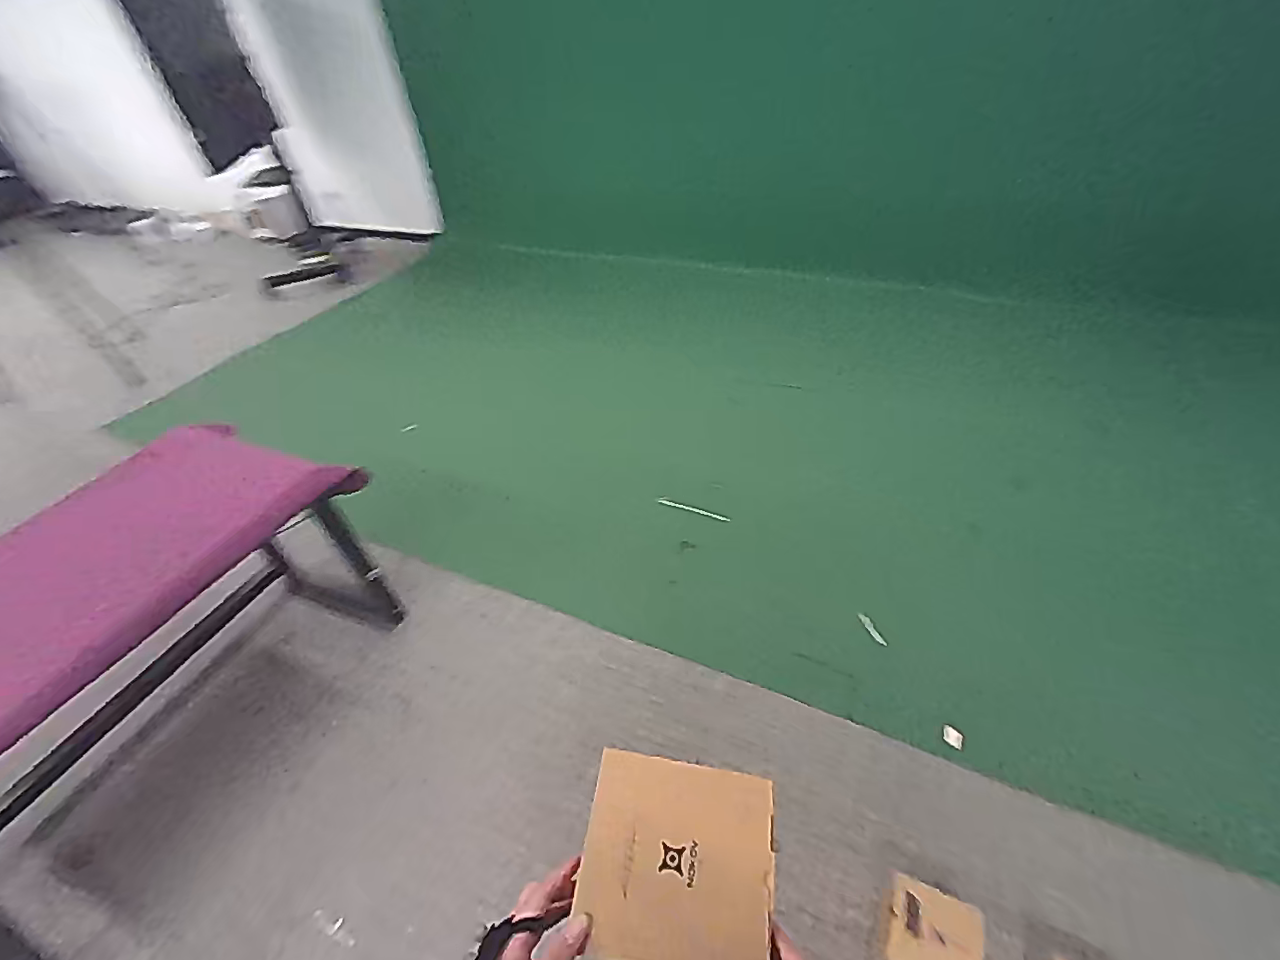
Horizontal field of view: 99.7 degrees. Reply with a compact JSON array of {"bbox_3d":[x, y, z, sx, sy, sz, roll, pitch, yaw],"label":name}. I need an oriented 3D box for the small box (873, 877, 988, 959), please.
[{"bbox_3d":[0.612,0.999,1.151,0.179,0.176,0.168,17,47,22],"label":"small box"}]
